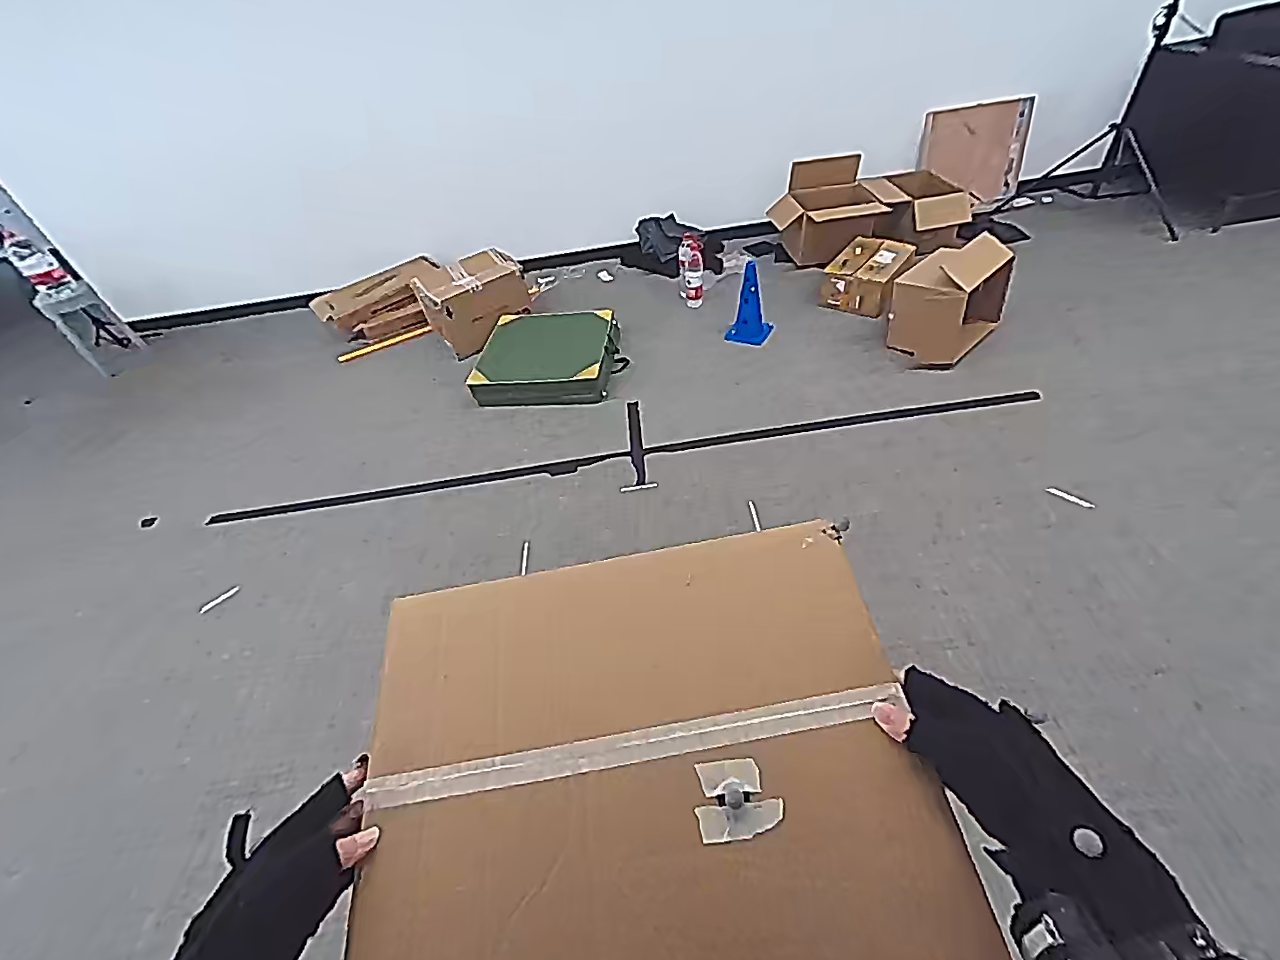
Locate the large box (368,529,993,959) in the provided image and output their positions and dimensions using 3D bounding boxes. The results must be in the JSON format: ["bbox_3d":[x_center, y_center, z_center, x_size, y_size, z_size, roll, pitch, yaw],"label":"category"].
[{"bbox_3d":[0.016,0.291,0.533,0.408,0.320,0.320,-11,55,0],"label":"large box"}]
